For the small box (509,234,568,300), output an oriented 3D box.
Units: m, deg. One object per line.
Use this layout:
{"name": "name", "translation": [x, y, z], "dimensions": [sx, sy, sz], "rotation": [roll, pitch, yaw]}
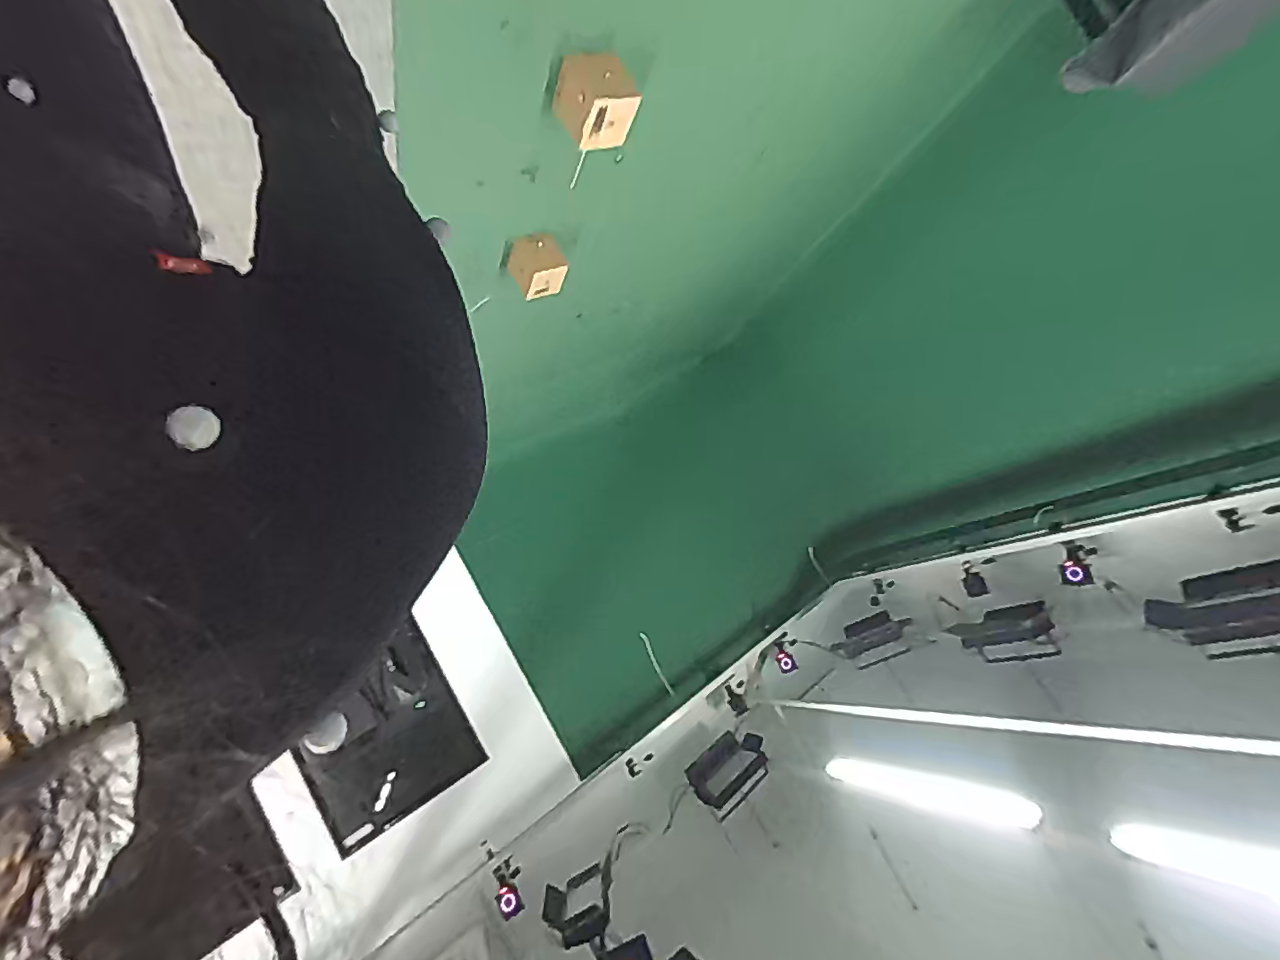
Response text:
{"name": "small box", "translation": [-0.425, -0.879, 2.234], "dimensions": [0.168, 0.176, 0.179], "rotation": [-27, 173, -29]}
